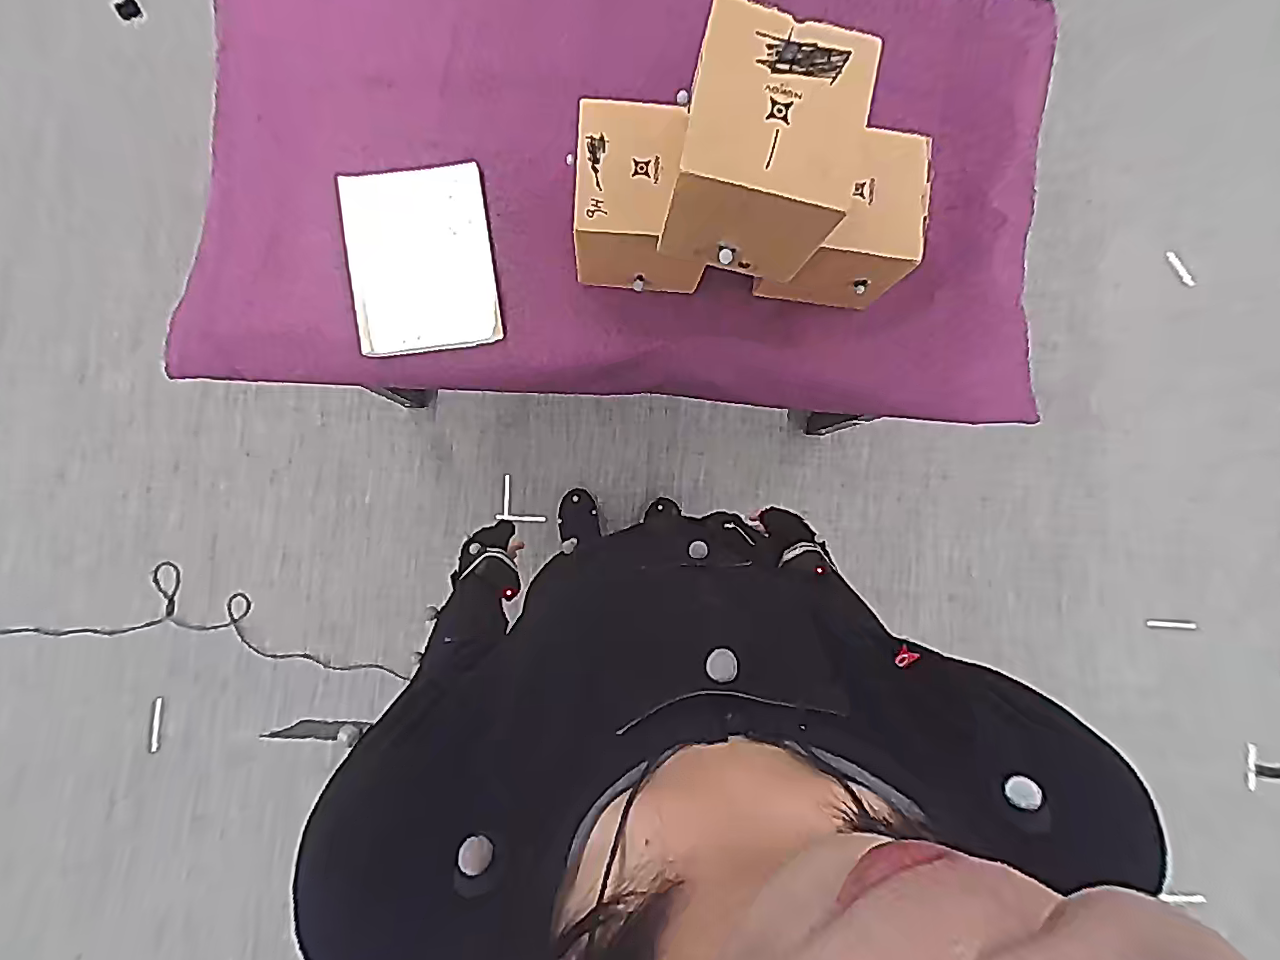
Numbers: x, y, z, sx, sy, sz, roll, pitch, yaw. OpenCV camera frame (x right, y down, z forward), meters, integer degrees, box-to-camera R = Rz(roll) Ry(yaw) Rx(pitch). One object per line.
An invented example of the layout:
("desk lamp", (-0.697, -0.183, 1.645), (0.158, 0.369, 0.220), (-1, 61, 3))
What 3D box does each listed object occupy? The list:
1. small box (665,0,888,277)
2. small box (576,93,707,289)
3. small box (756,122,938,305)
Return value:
("small box", (0.127, -0.345, 0.568), (0.168, 0.176, 0.179), (12, 87, -4))
("small box", (0.008, -0.371, 0.726), (0.179, 0.176, 0.168), (3, 87, -4))
("small box", (0.272, -0.356, 0.743), (0.179, 0.176, 0.168), (6, 86, -1))
